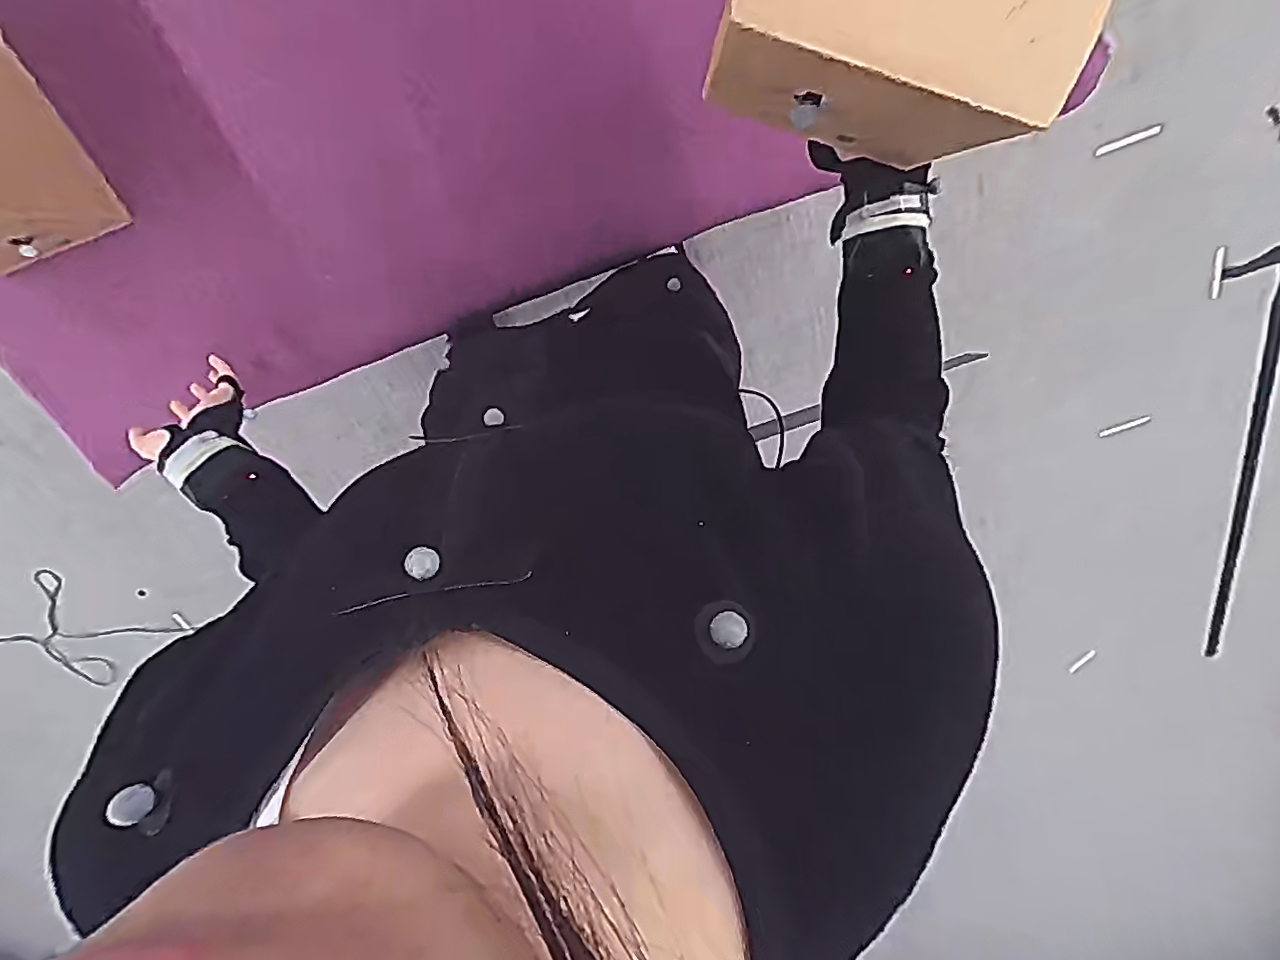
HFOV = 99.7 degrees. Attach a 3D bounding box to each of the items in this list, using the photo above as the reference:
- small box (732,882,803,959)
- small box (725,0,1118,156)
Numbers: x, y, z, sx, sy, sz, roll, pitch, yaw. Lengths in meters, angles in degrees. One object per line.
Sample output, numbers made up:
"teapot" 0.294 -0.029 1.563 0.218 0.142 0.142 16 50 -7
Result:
"small box" 0.402 1.415 1.719 0.168 0.176 0.179 -15 116 2
"small box" 0.152 -0.303 0.297 0.168 0.176 0.179 15 112 -4
